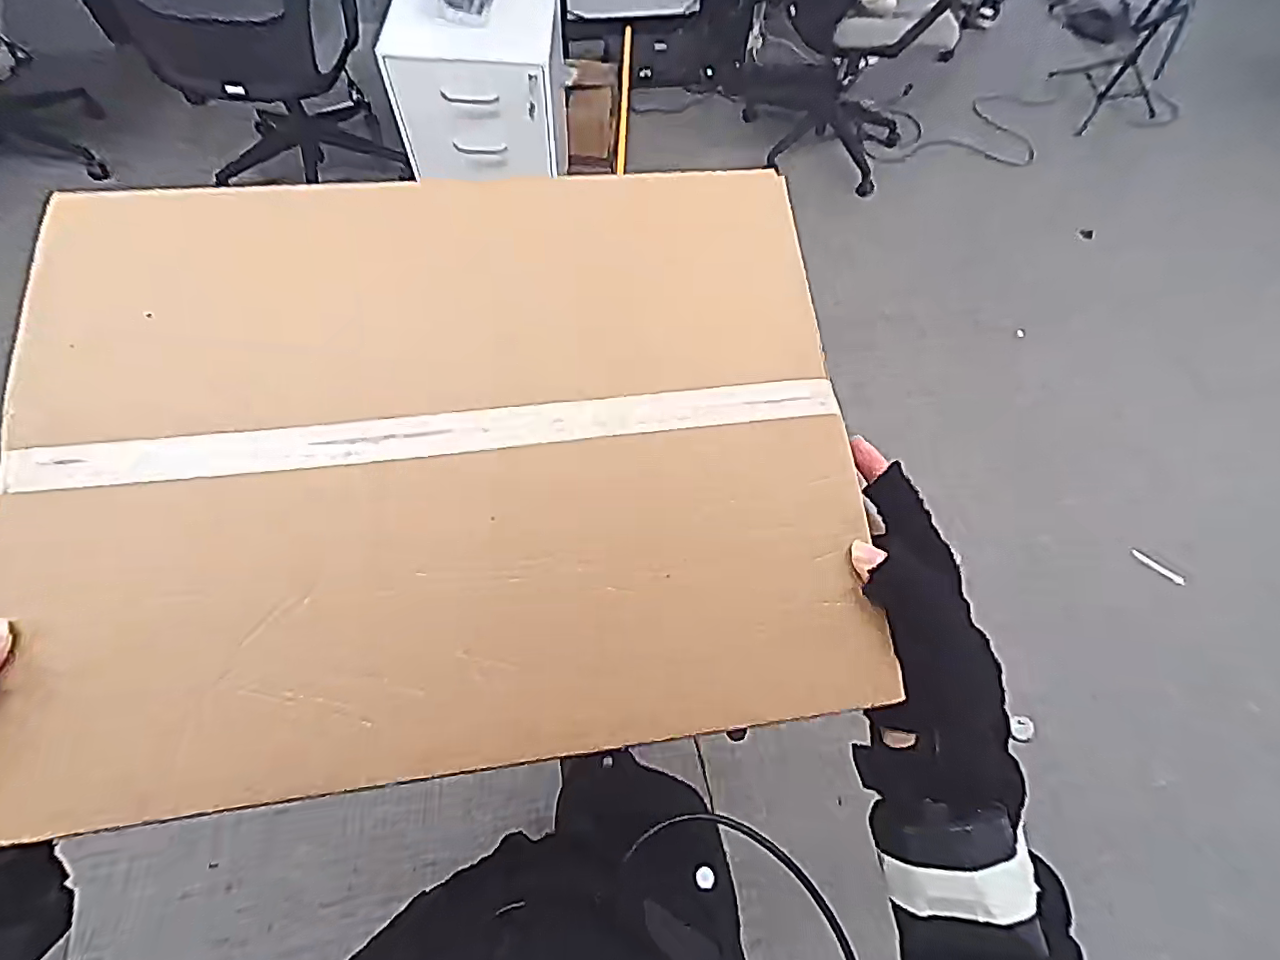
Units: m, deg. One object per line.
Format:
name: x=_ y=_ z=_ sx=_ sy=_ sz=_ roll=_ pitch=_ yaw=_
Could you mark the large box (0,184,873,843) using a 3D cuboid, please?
large box: x=-0.107 y=0.019 z=0.428 sx=0.408 sy=0.320 sz=0.320 roll=-6 pitch=75 yaw=-6
